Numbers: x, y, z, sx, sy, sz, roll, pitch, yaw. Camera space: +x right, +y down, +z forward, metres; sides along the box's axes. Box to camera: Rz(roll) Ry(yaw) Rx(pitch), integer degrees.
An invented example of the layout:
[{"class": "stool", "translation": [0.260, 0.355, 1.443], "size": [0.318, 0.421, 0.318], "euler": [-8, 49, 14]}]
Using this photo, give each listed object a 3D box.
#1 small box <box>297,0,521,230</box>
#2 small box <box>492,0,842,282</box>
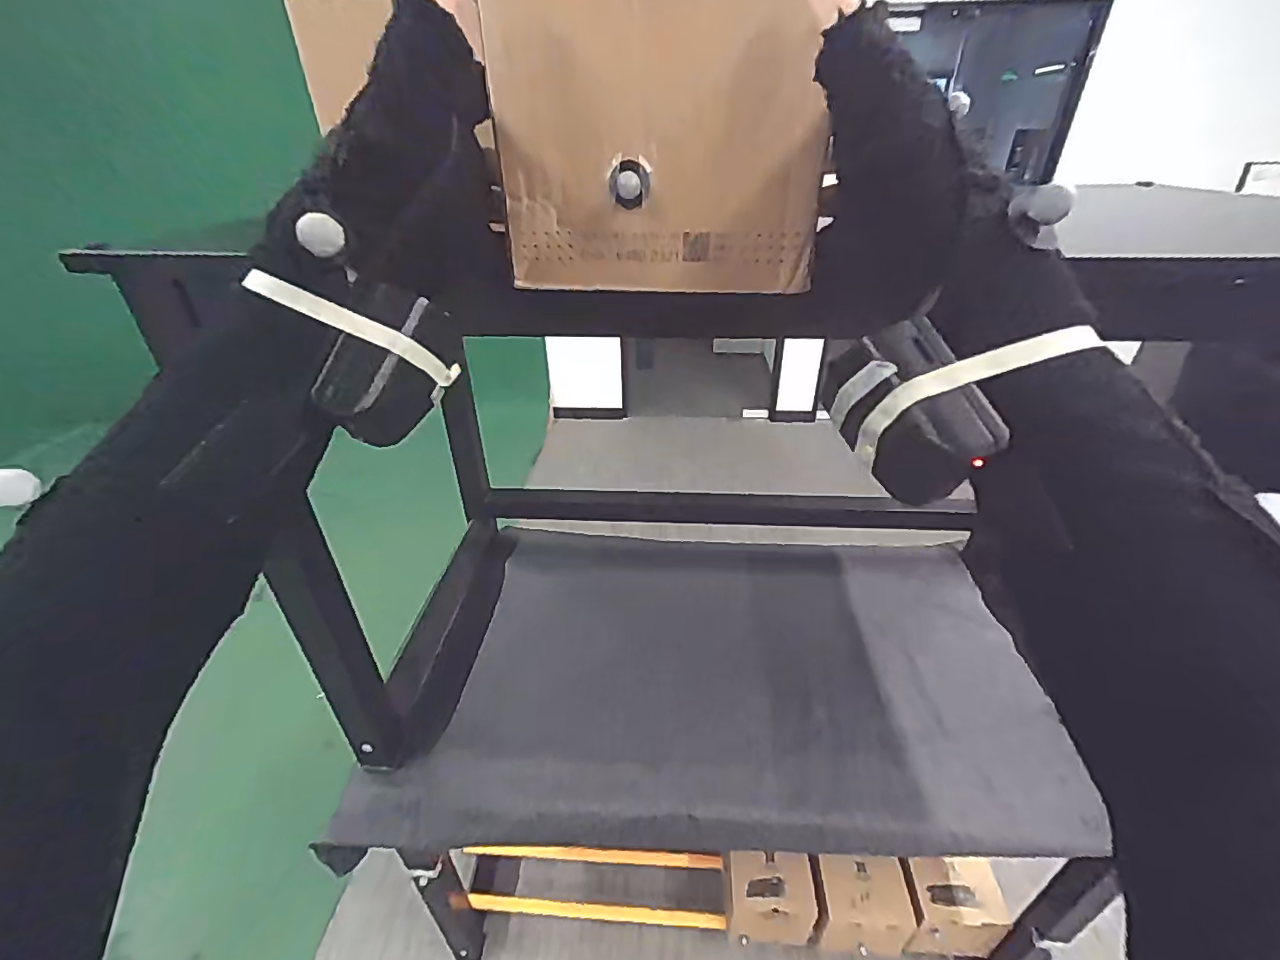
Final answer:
[{"class": "small box", "translation": [-0.187, -0.343, 0.518], "size": [0.168, 0.176, 0.179], "euler": [-6, 33, -6]}, {"class": "small box", "translation": [0.016, -0.229, 0.331], "size": [0.168, 0.176, 0.179], "euler": [2, 33, 5]}]
